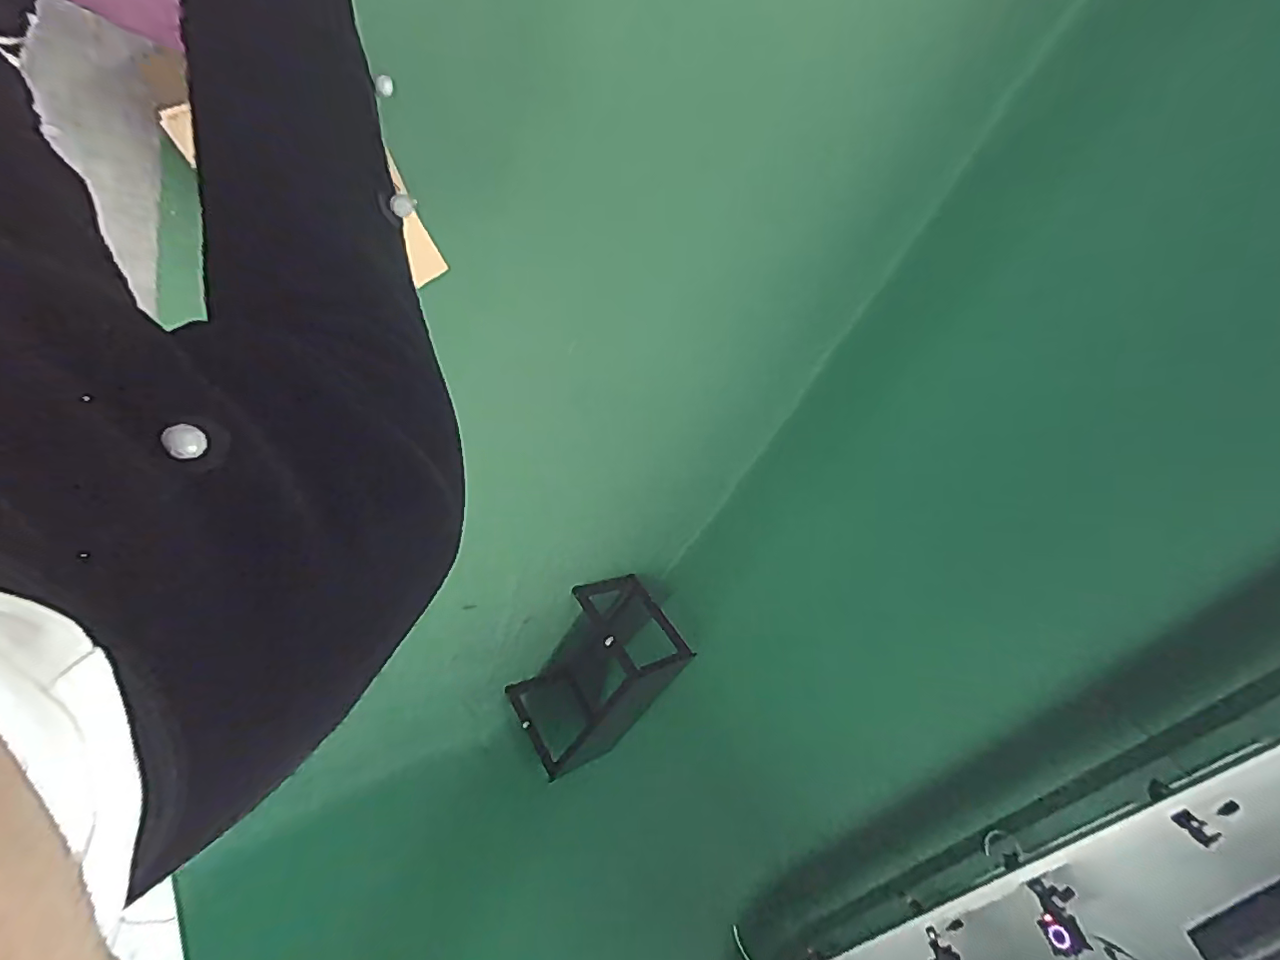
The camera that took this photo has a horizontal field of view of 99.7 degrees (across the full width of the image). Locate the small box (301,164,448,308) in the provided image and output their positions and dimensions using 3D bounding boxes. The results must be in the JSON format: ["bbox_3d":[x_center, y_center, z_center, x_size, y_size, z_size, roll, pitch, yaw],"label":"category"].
[{"bbox_3d":[-0.513,-0.477,1.046,0.168,0.176,0.179,-36,151,-9],"label":"small box"}]
